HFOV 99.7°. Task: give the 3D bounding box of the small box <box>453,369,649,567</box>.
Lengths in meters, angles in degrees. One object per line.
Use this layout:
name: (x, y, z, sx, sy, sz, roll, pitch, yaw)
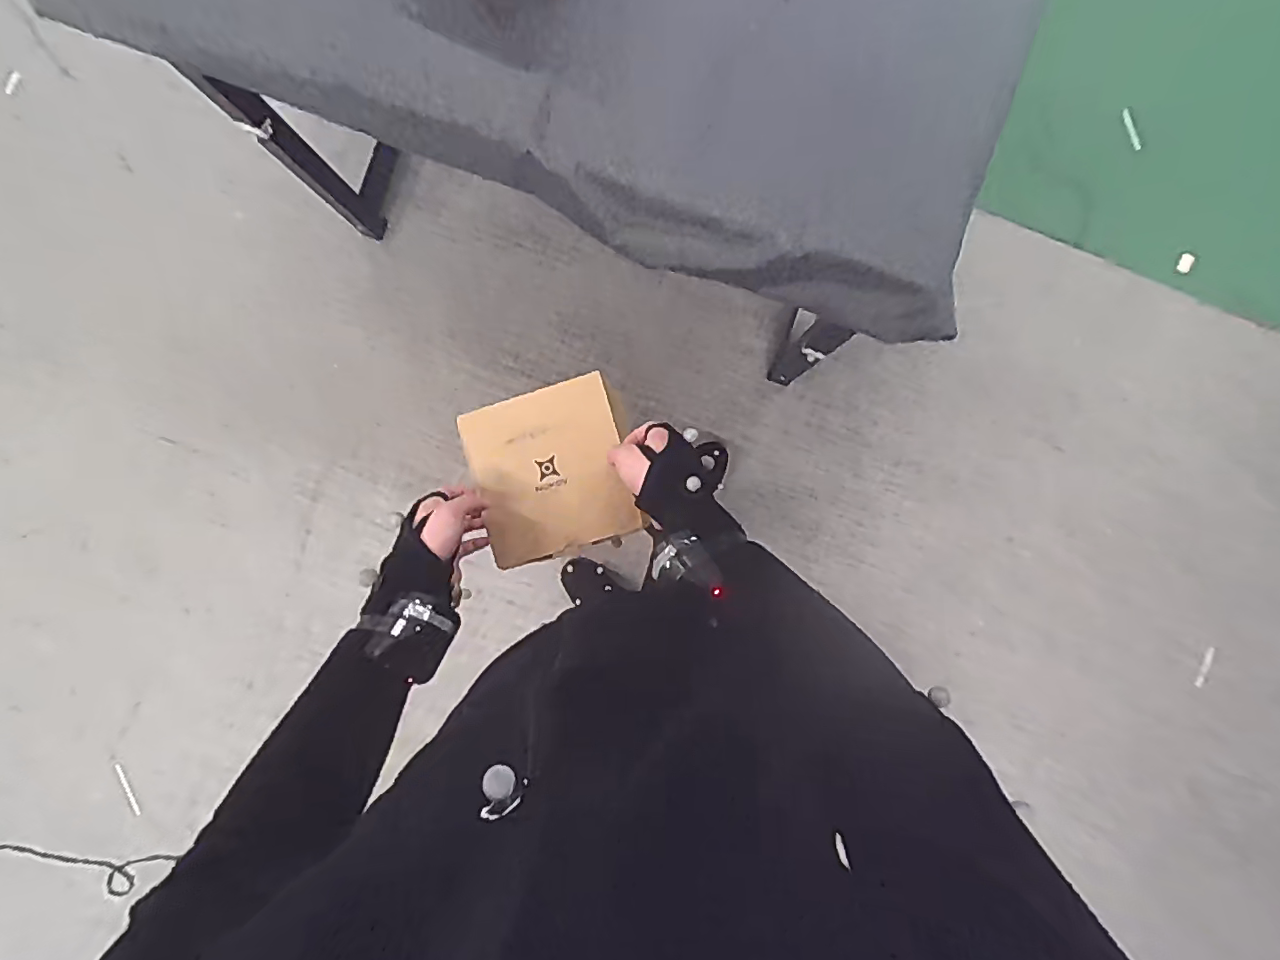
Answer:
small box: (-0.092, -0.010, 0.648, 0.168, 0.176, 0.179, -18, 86, 4)
